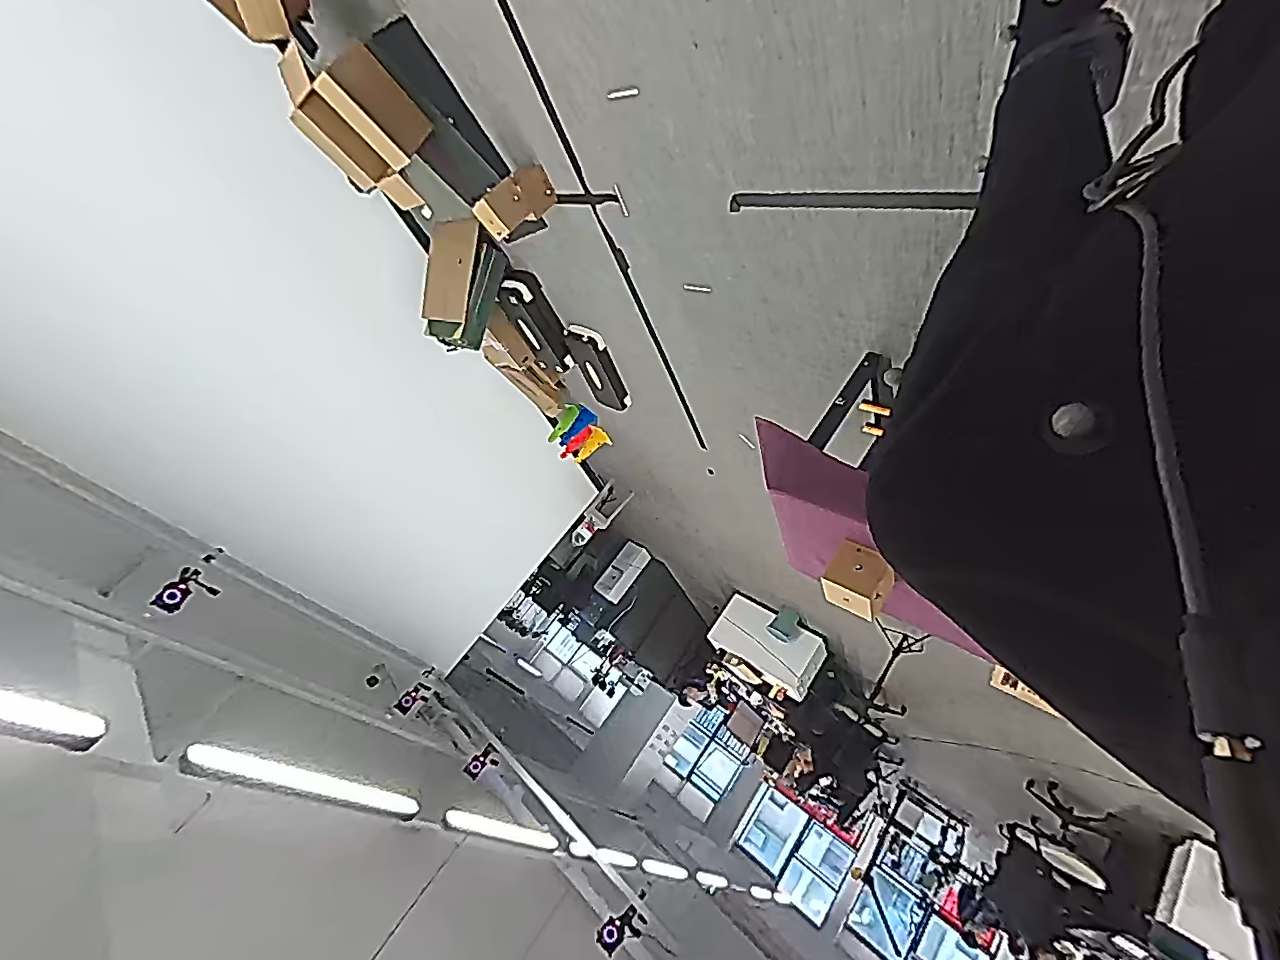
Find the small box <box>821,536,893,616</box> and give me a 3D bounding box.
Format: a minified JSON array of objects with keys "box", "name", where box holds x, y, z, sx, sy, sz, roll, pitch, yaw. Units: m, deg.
[{"box":[0.723,0.313,1.797,0.168,0.176,0.179,24,158,38],"name":"small box"}]
